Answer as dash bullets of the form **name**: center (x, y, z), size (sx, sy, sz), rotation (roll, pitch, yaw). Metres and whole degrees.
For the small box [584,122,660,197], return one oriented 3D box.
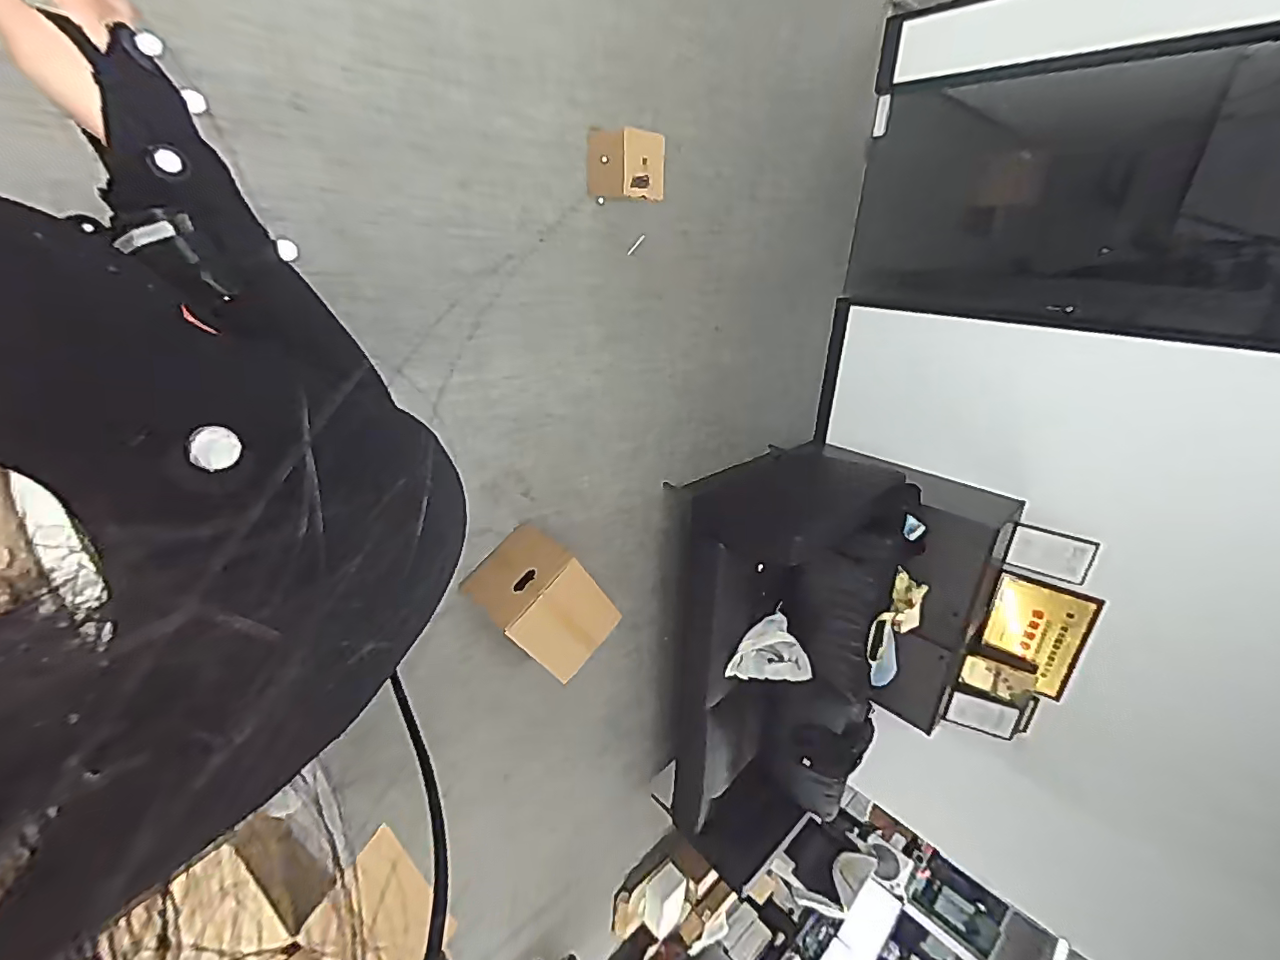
- **small box**: center (-0.059, -0.967, 1.646), size (0.168, 0.176, 0.179), rotation (-18, 121, -40)
